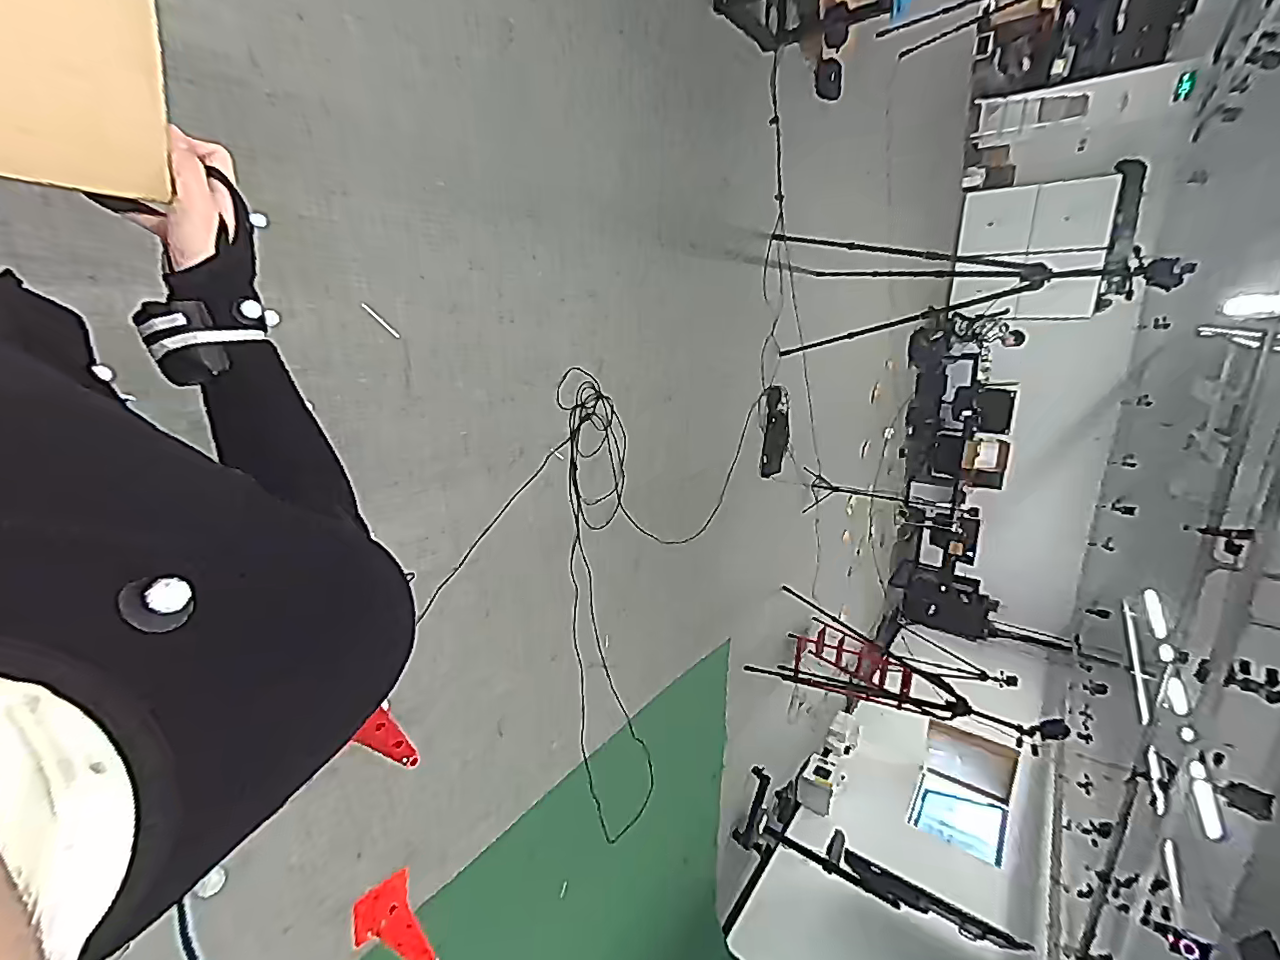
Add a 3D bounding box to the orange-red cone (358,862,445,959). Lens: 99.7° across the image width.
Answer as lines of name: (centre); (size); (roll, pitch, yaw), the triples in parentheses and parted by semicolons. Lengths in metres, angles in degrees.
orange-red cone: (-0.800, 1.569, 1.894); (0.199, 0.360, 0.198); (-9, 108, -54)
